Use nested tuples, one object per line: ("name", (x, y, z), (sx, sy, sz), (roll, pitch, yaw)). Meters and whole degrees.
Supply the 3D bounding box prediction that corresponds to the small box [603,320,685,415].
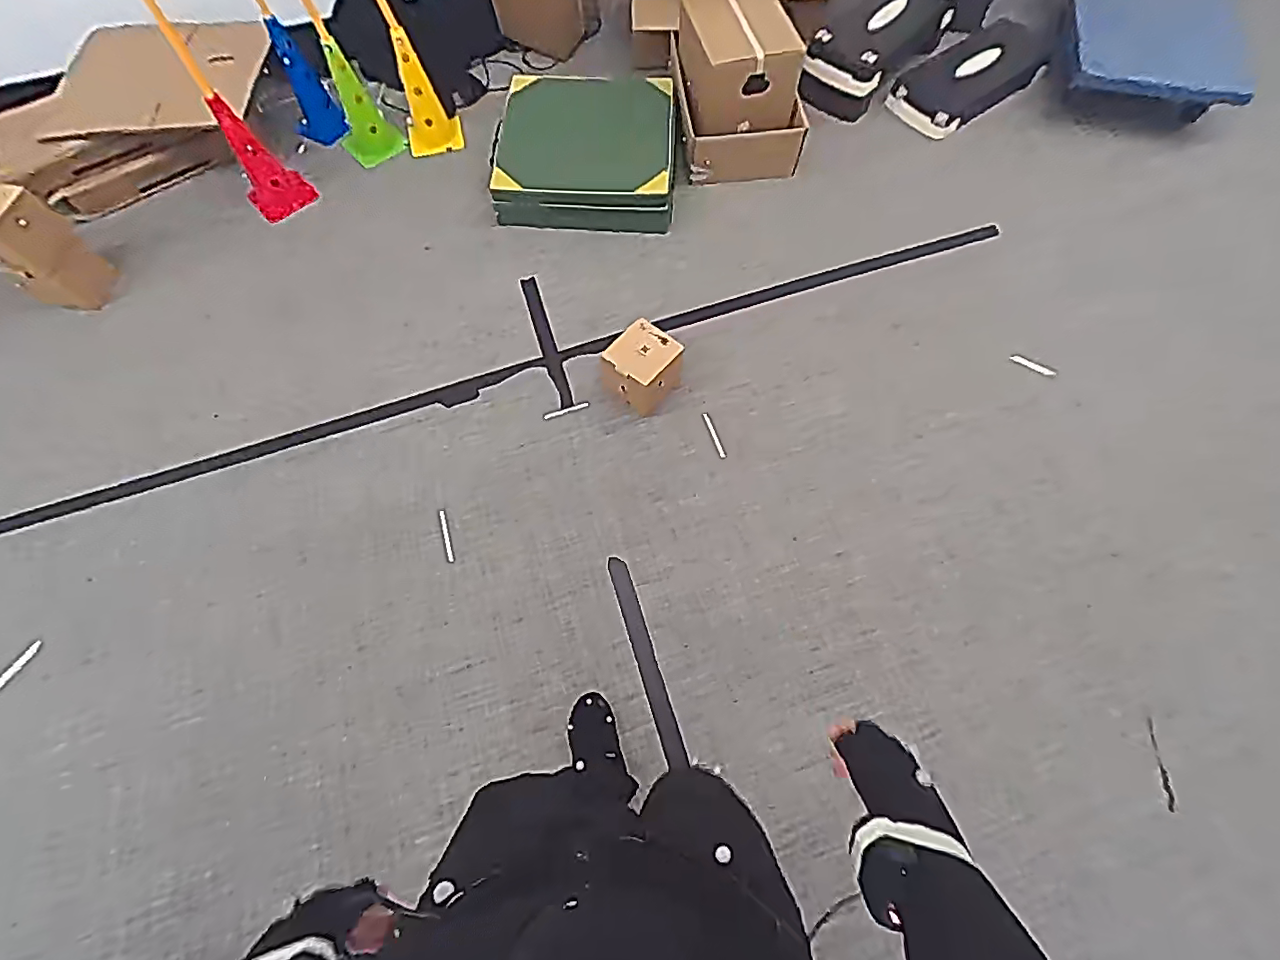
("small box", (0.016, -0.321, 1.576), (0.168, 0.176, 0.179), (36, 72, 15))
